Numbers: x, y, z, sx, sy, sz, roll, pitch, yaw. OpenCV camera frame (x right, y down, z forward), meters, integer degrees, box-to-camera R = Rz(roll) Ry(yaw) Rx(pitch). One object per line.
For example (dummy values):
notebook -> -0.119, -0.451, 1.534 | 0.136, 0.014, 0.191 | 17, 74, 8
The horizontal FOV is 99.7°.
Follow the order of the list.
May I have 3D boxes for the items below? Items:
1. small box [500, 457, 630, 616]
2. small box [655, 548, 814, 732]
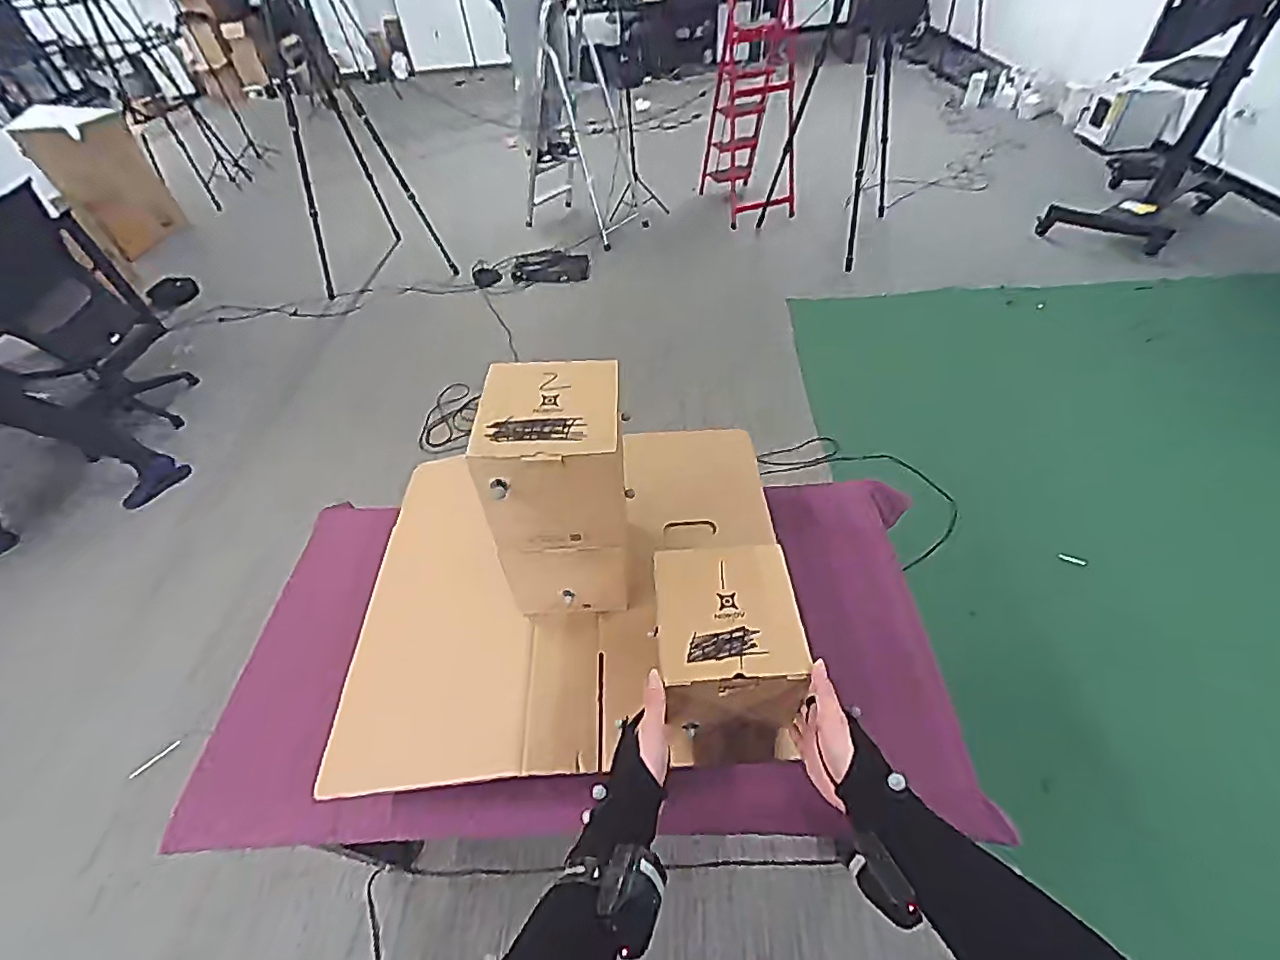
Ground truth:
small box -> -0.101, 0.085, 0.811 | 0.168, 0.176, 0.179 | -2, 49, 0
small box -> 0.108, 0.209, 0.691 | 0.168, 0.176, 0.179 | -3, 47, 0
